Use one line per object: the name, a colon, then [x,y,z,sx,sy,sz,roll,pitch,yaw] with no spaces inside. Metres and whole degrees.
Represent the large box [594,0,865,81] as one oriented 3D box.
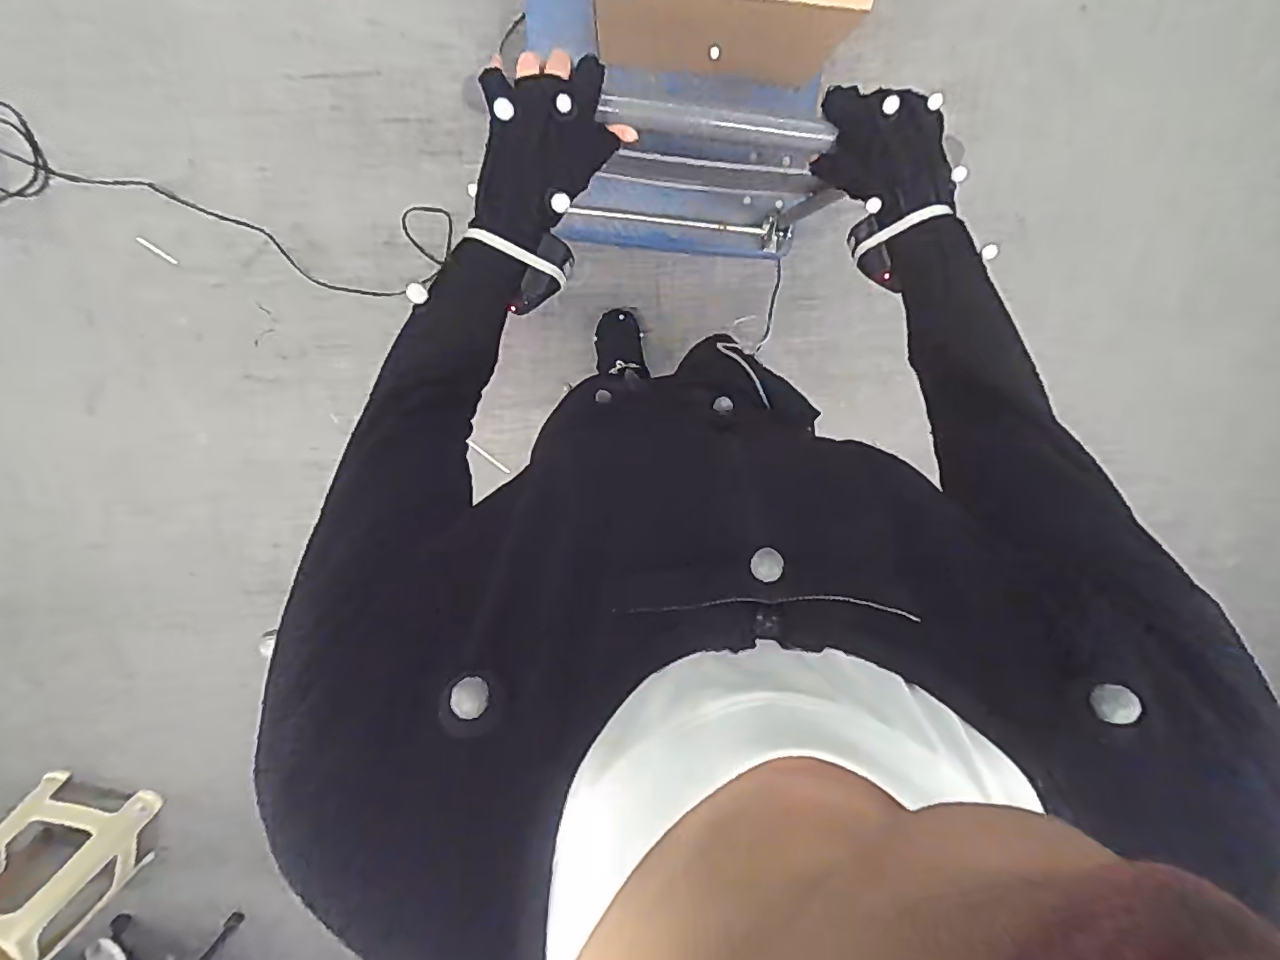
large box: [0.137,-0.889,0.874,0.408,0.320,0.320,4,108,-2]
